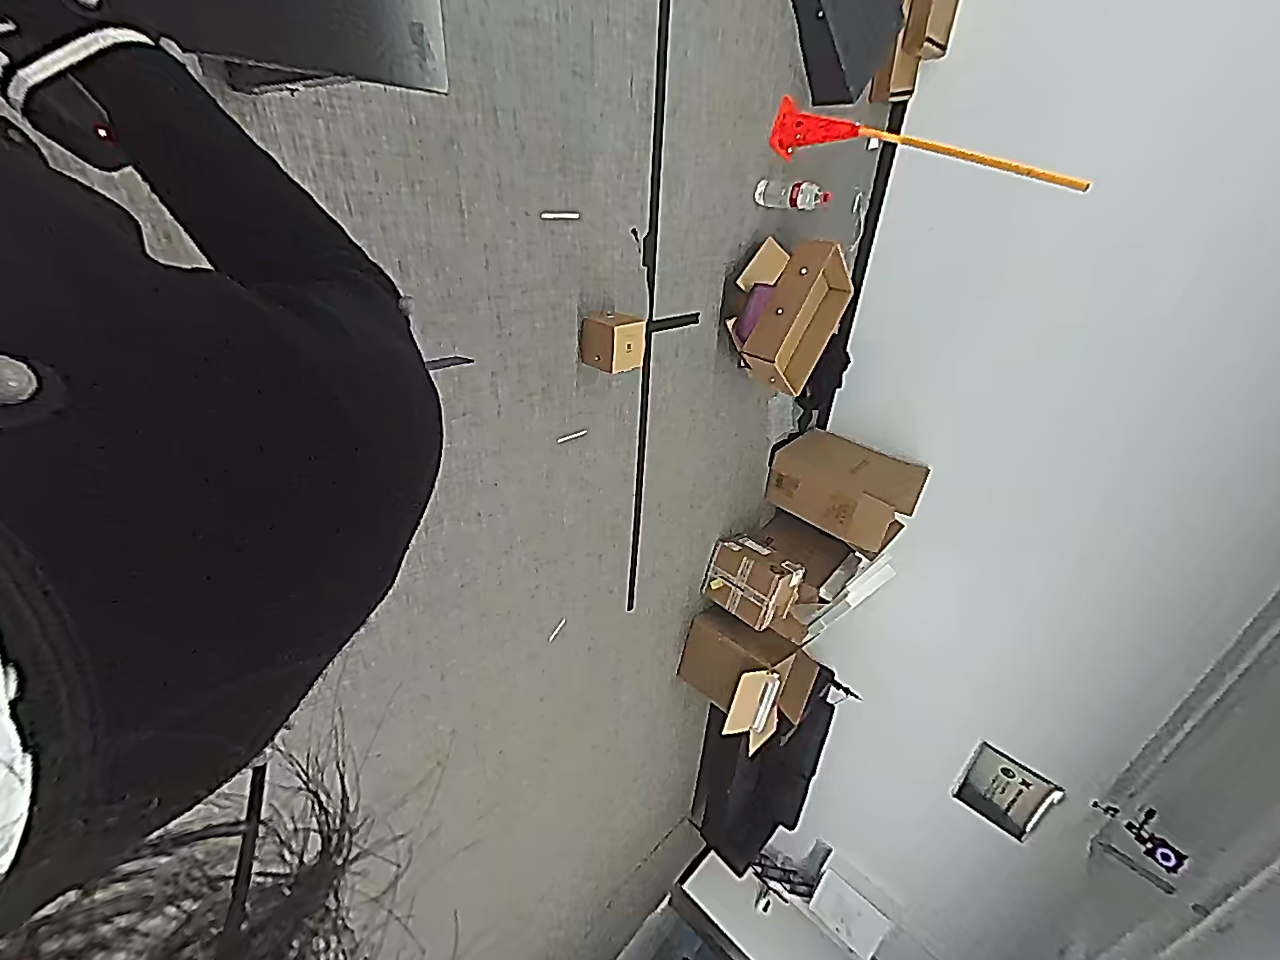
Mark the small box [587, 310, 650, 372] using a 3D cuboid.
[{"bbox_3d":[-0.085,-0.519,2.002,0.168,0.176,0.179,-26,131,-40],"label":"small box"}]
